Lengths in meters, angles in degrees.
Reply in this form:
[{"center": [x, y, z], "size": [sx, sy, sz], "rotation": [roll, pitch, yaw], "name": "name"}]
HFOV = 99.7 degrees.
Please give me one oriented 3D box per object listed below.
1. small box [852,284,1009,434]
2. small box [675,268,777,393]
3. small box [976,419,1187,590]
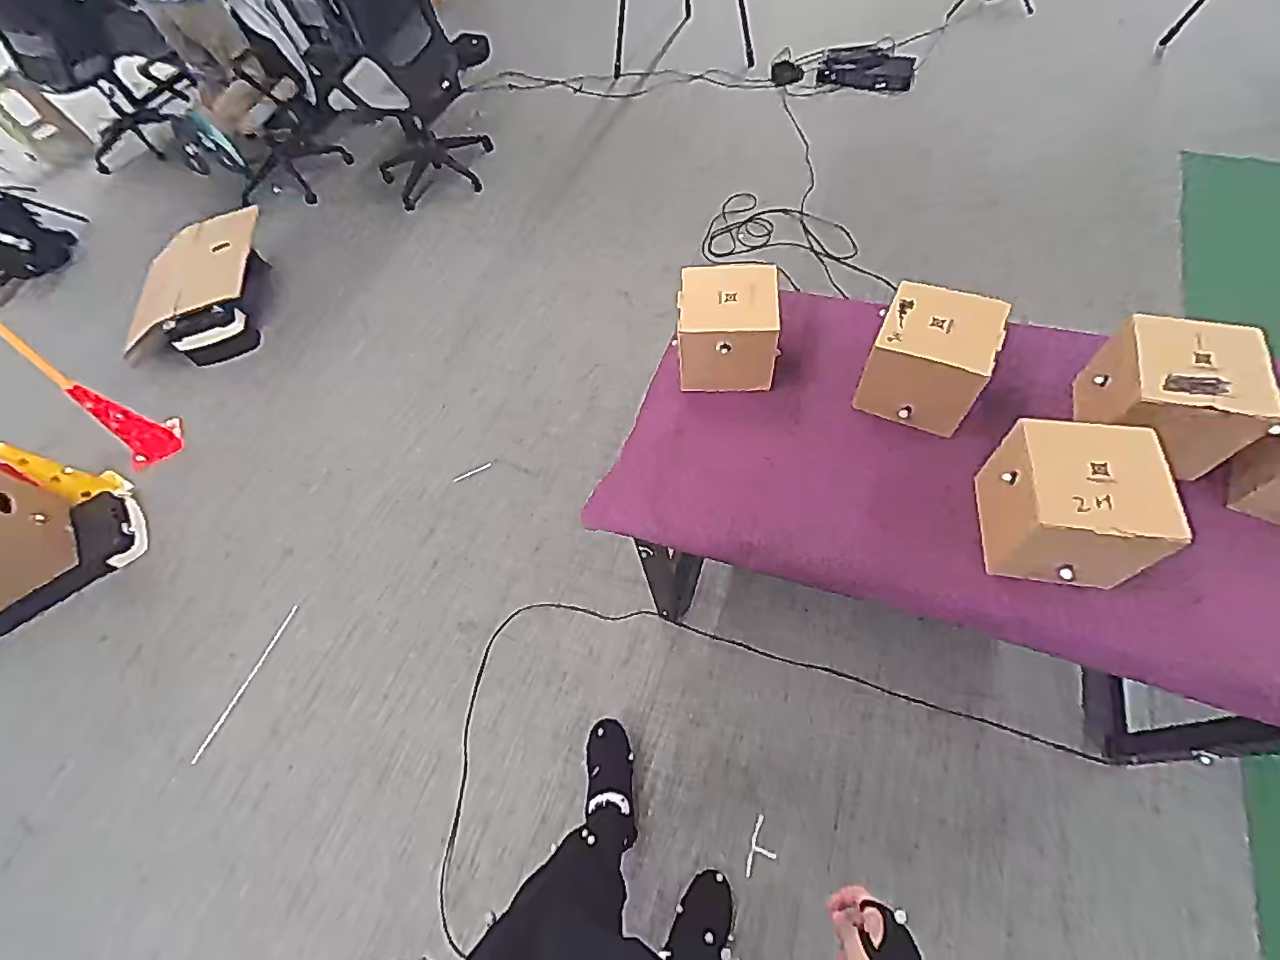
[{"center": [0.494, -0.203, 0.940], "size": [0.179, 0.176, 0.168], "rotation": [23, 65, 19], "name": "small box"}, {"center": [0.164, -0.279, 1.031], "size": [0.179, 0.176, 0.168], "rotation": [2, 61, 8], "name": "small box"}, {"center": [0.610, 0.038, 0.779], "size": [0.168, 0.176, 0.179], "rotation": [6, 60, 12], "name": "small box"}]
